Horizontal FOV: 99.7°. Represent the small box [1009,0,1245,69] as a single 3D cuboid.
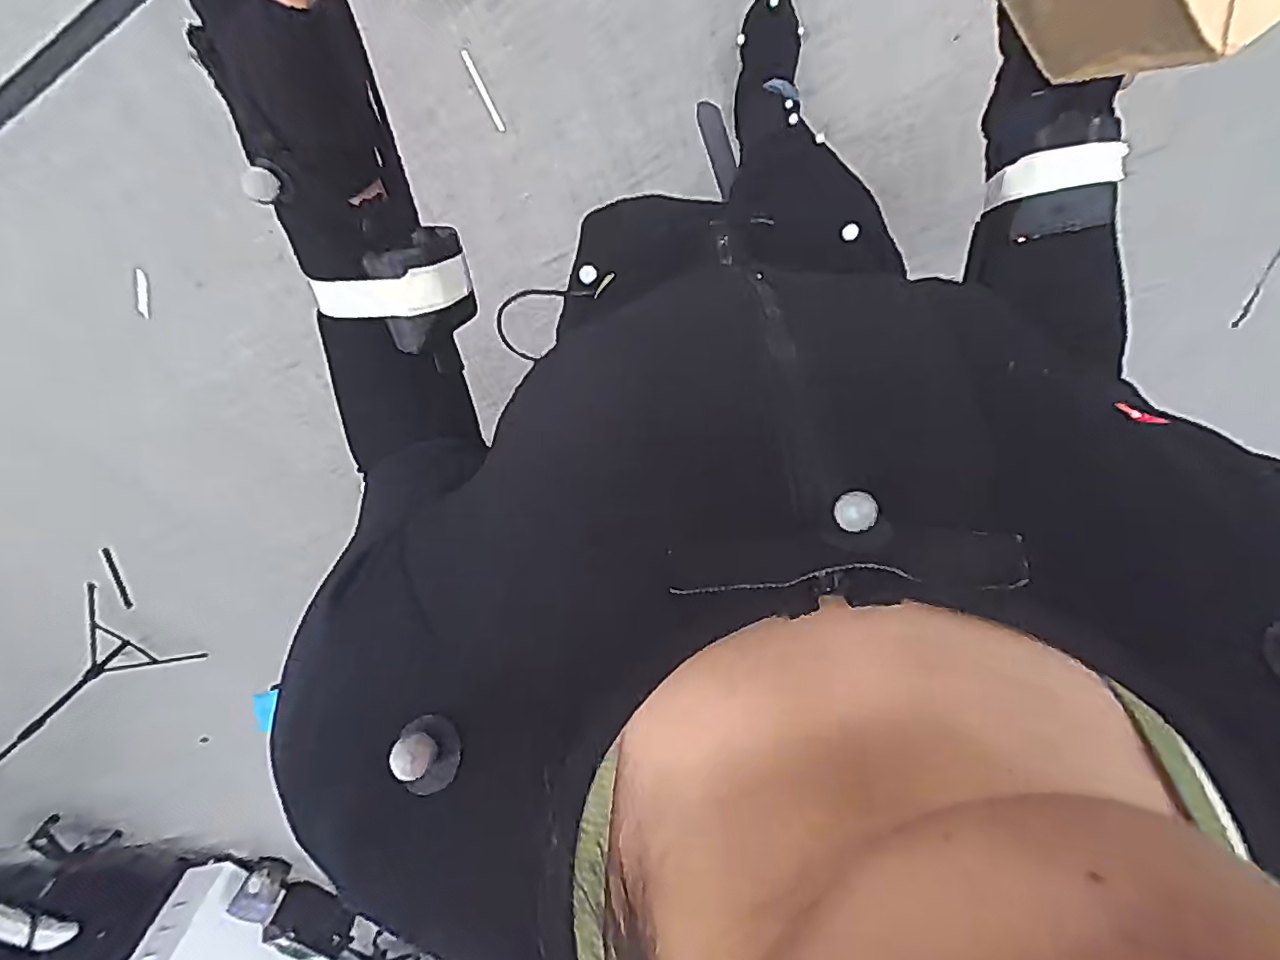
[{"bbox_3d":[0.232,-0.308,0.206,0.168,0.176,0.179,-36,107,31],"label":"small box"}]
